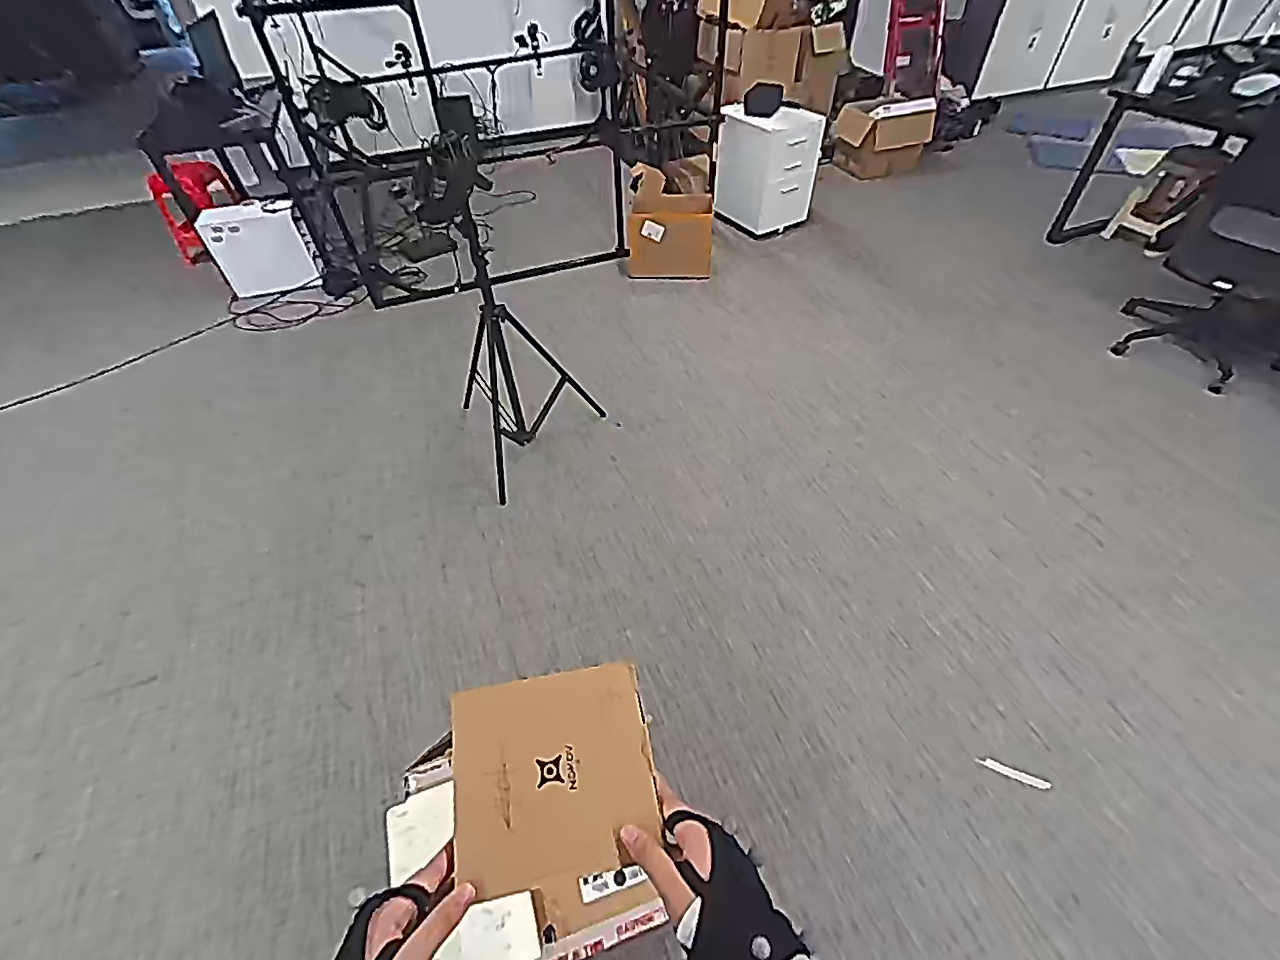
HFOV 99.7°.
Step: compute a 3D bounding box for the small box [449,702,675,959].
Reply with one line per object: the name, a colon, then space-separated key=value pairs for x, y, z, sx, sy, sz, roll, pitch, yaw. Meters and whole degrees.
small box: x=-0.076 y=0.333 z=0.525 sx=0.179 sy=0.176 sz=0.168 roll=-9 pitch=57 yaw=-8
